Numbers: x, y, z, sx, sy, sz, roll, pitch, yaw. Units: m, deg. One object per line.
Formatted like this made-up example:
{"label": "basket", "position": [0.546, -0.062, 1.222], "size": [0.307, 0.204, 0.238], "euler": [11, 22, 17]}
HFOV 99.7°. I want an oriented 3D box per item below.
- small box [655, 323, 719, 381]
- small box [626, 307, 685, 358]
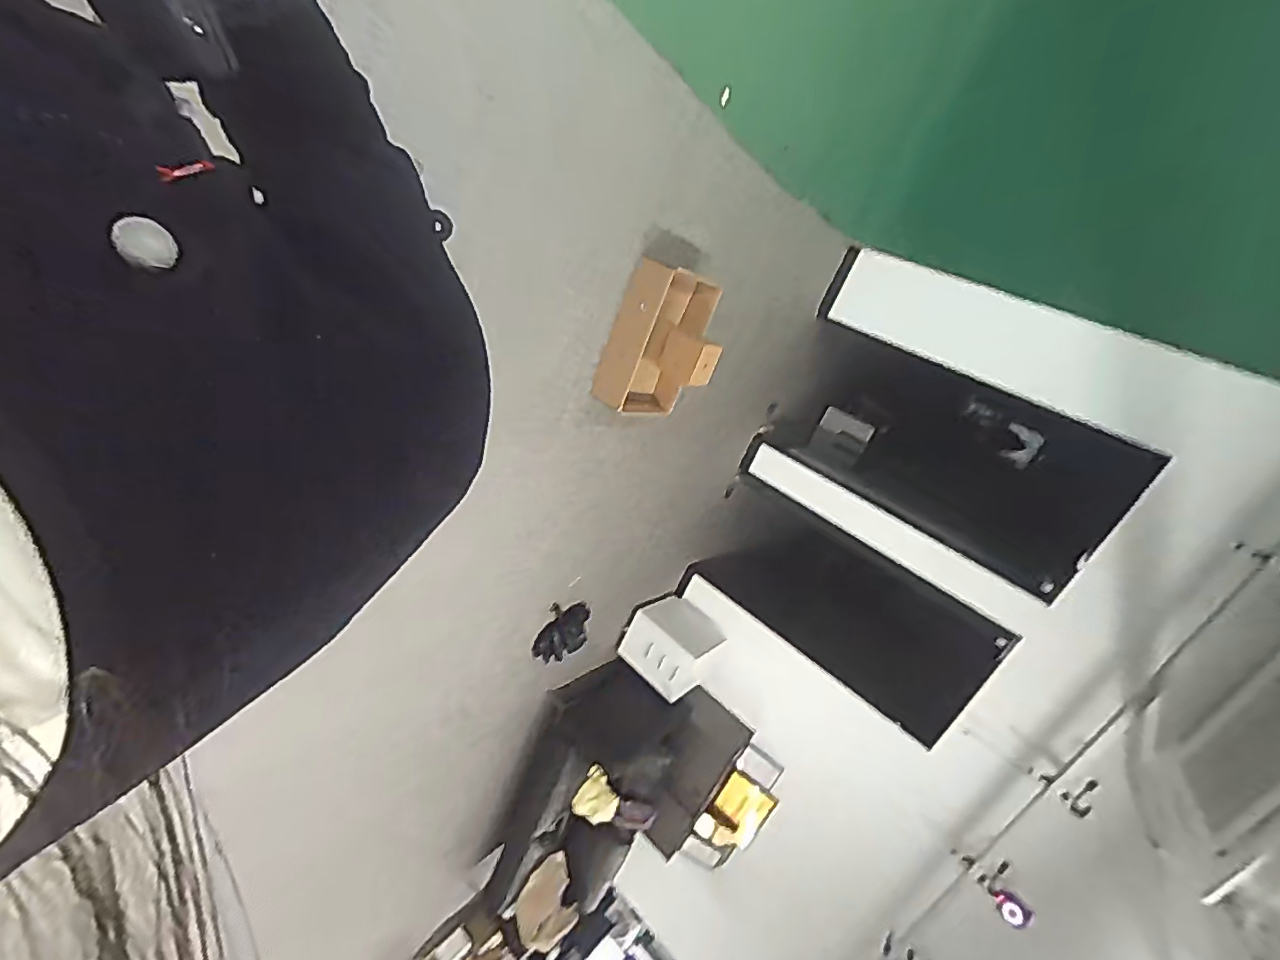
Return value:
{"label": "small box", "position": [0.186, -0.520, 2.198], "size": [0.168, 0.176, 0.179], "euler": [-19, 137, -50]}
{"label": "small box", "position": [0.067, -0.618, 2.289], "size": [0.179, 0.176, 0.168], "euler": [-11, 130, -54]}
